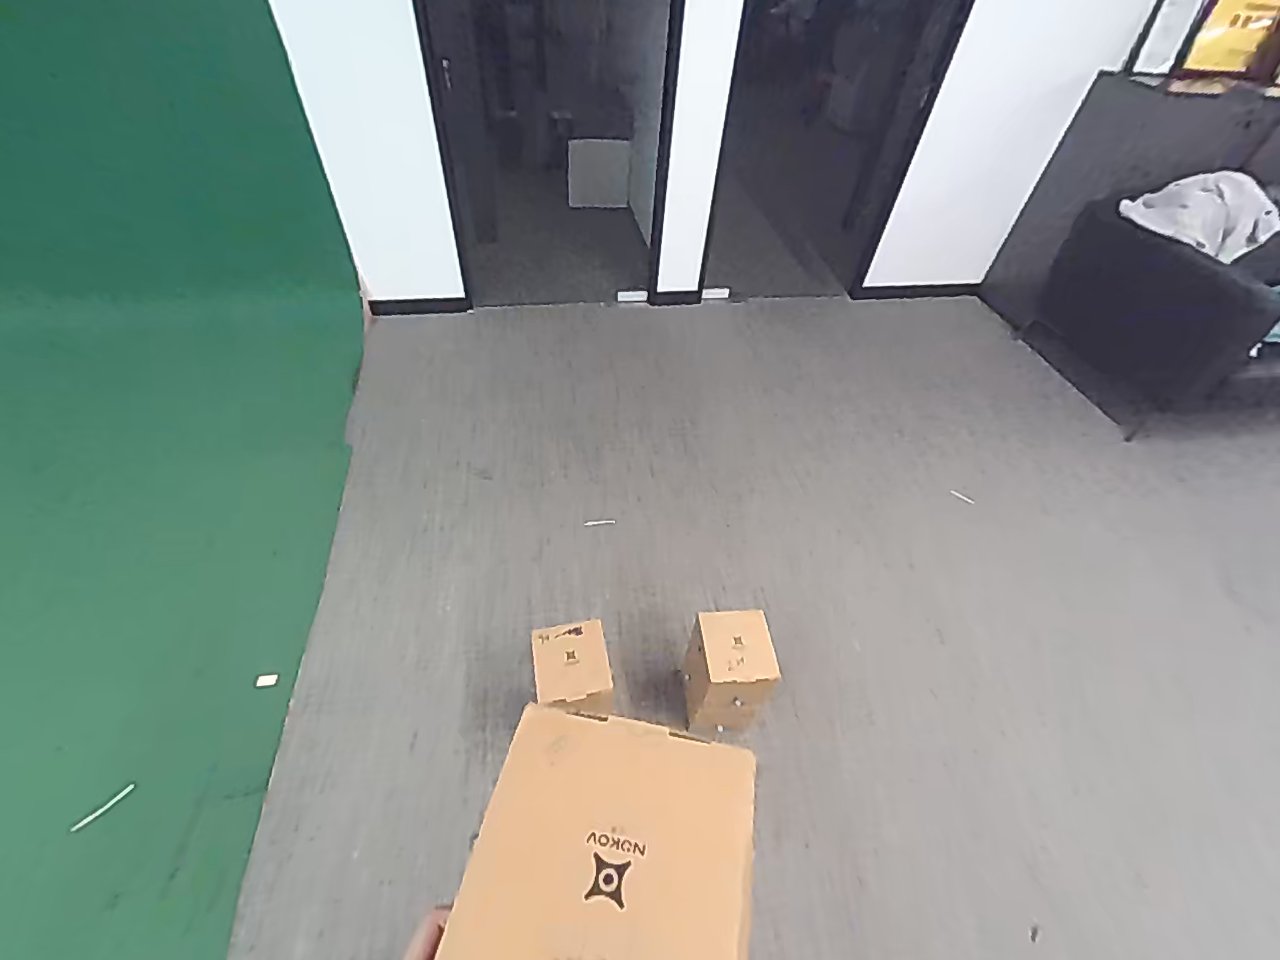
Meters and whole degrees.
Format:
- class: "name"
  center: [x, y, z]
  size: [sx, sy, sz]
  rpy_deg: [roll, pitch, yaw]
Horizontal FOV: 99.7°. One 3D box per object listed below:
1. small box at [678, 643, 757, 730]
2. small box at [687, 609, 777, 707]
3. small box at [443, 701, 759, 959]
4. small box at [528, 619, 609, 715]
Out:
- class: "small box"
  center: [0.199, 0.549, 1.443]
  size: [0.168, 0.176, 0.179]
  rpy_deg: [0, 49, -6]
- class: "small box"
  center: [0.214, 0.436, 1.324]
  size: [0.168, 0.176, 0.179]
  rpy_deg: [-2, 48, -7]
- class: "small box"
  center: [-0.019, 0.289, 0.376]
  size: [0.168, 0.176, 0.179]
  rpy_deg: [10, 44, 6]
- class: "small box"
  center: [-0.167, 0.454, 1.265]
  size: [0.168, 0.176, 0.179]
  rpy_deg: [-7, 49, -12]
